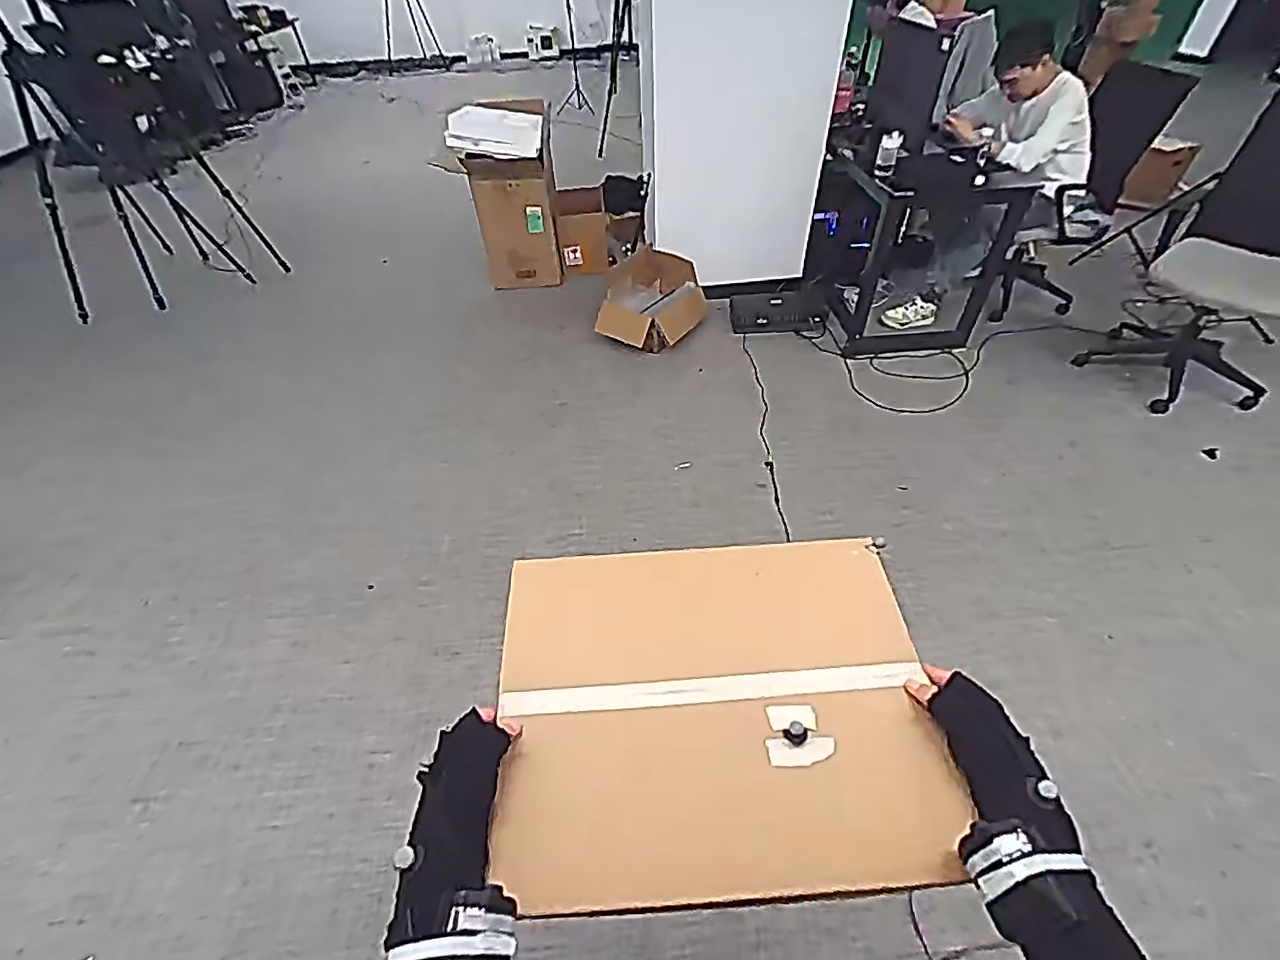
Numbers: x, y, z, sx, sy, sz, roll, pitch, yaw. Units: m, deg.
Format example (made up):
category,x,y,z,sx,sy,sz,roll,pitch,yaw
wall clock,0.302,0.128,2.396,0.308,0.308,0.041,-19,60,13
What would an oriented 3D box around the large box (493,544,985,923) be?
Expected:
category,x,y,z,sx,sy,sz,roll,pitch,yaw
large box,0.072,0.299,0.632,0.408,0.320,0.320,-4,51,-1
